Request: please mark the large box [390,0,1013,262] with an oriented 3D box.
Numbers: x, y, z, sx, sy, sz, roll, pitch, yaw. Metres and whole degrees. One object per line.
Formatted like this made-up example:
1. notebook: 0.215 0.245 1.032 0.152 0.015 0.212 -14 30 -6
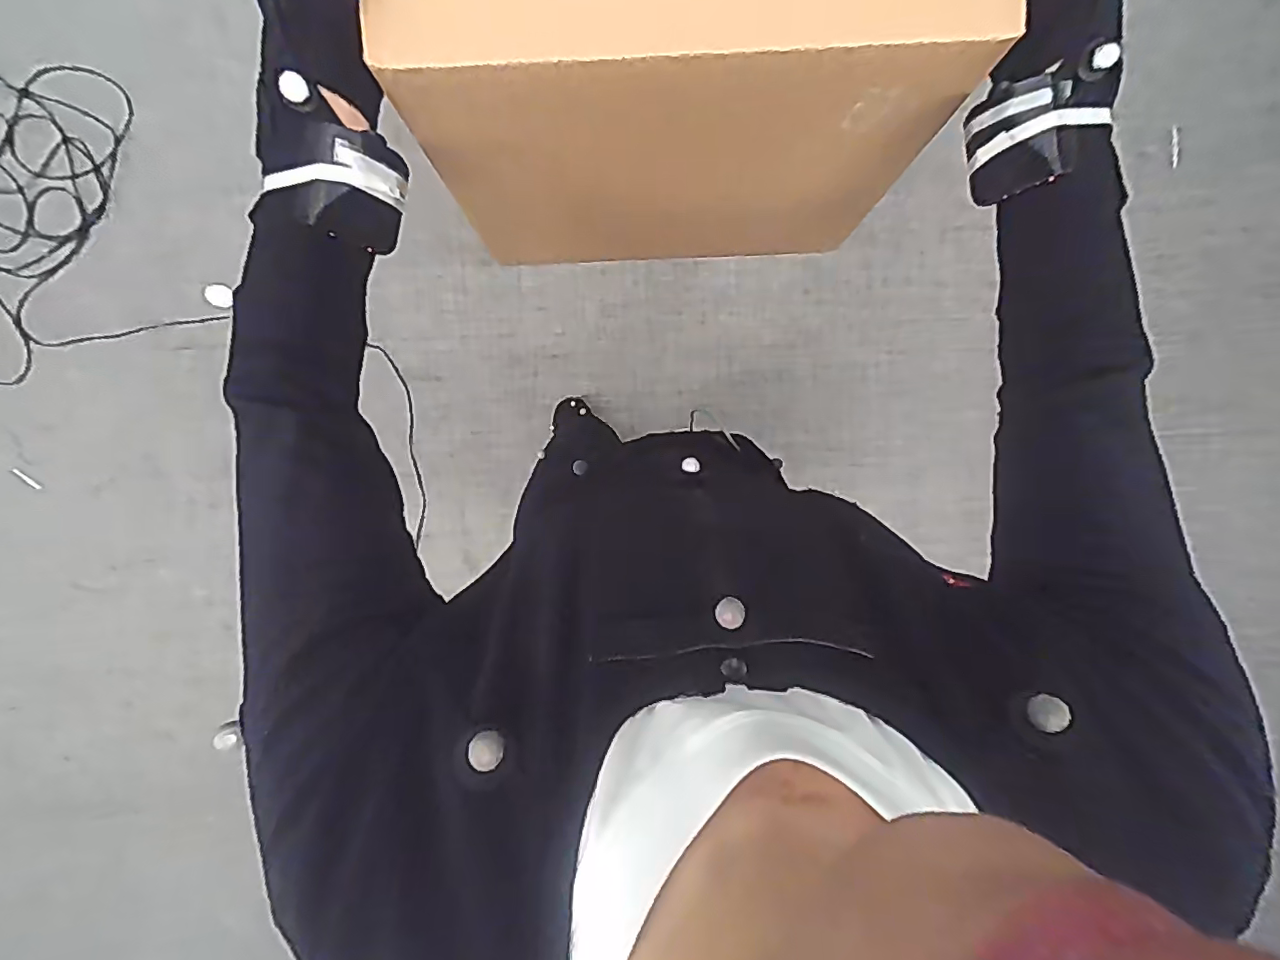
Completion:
1. large box: 0.028 -0.420 0.492 0.408 0.320 0.320 -3 90 -1
